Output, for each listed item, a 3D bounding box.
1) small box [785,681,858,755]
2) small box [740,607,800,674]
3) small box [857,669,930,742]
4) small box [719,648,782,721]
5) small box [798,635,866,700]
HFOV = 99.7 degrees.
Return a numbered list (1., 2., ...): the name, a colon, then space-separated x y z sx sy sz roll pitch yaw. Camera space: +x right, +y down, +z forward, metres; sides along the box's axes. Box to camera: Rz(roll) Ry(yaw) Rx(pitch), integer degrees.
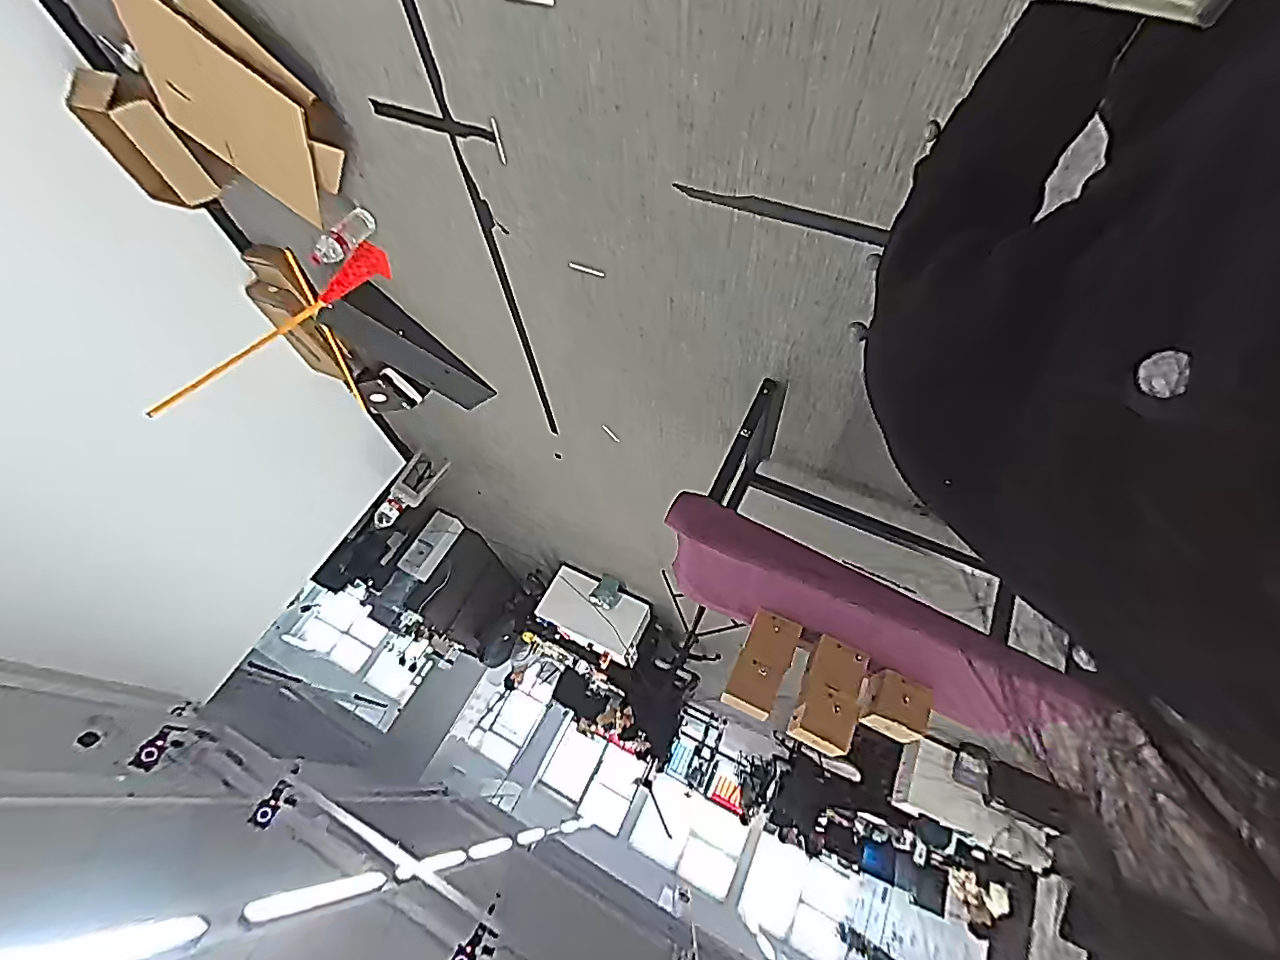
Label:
1. small box: 0.612 0.801 1.822 0.168 0.176 0.179 24 152 13
2. small box: 0.467 0.591 1.968 0.168 0.176 0.179 22 152 15
3. small box: 0.883 0.780 1.876 0.168 0.176 0.179 24 151 14
4. small box: 0.390 0.718 1.903 0.168 0.176 0.179 21 152 17
5. small box: 0.672 0.666 1.892 0.168 0.176 0.179 23 153 15
